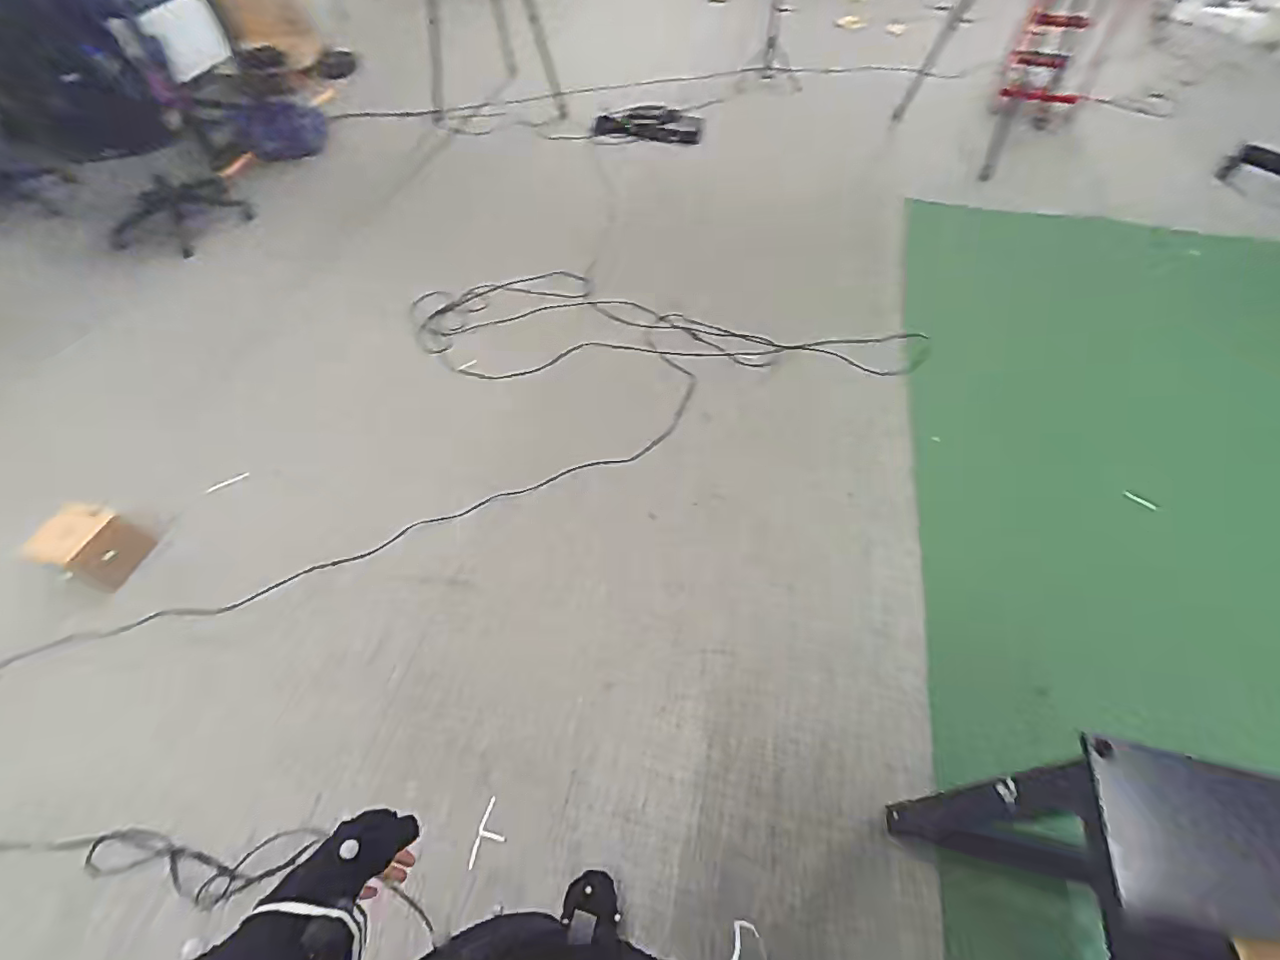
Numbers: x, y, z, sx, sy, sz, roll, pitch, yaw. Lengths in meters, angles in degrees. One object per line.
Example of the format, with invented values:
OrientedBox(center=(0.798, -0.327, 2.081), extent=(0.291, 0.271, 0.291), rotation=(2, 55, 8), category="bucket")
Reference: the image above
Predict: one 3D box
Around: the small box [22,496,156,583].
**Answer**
OrientedBox(center=(-1.579, 0.178, 1.565), extent=(0.168, 0.176, 0.179), rotation=(13, 56, 9), category="small box")
